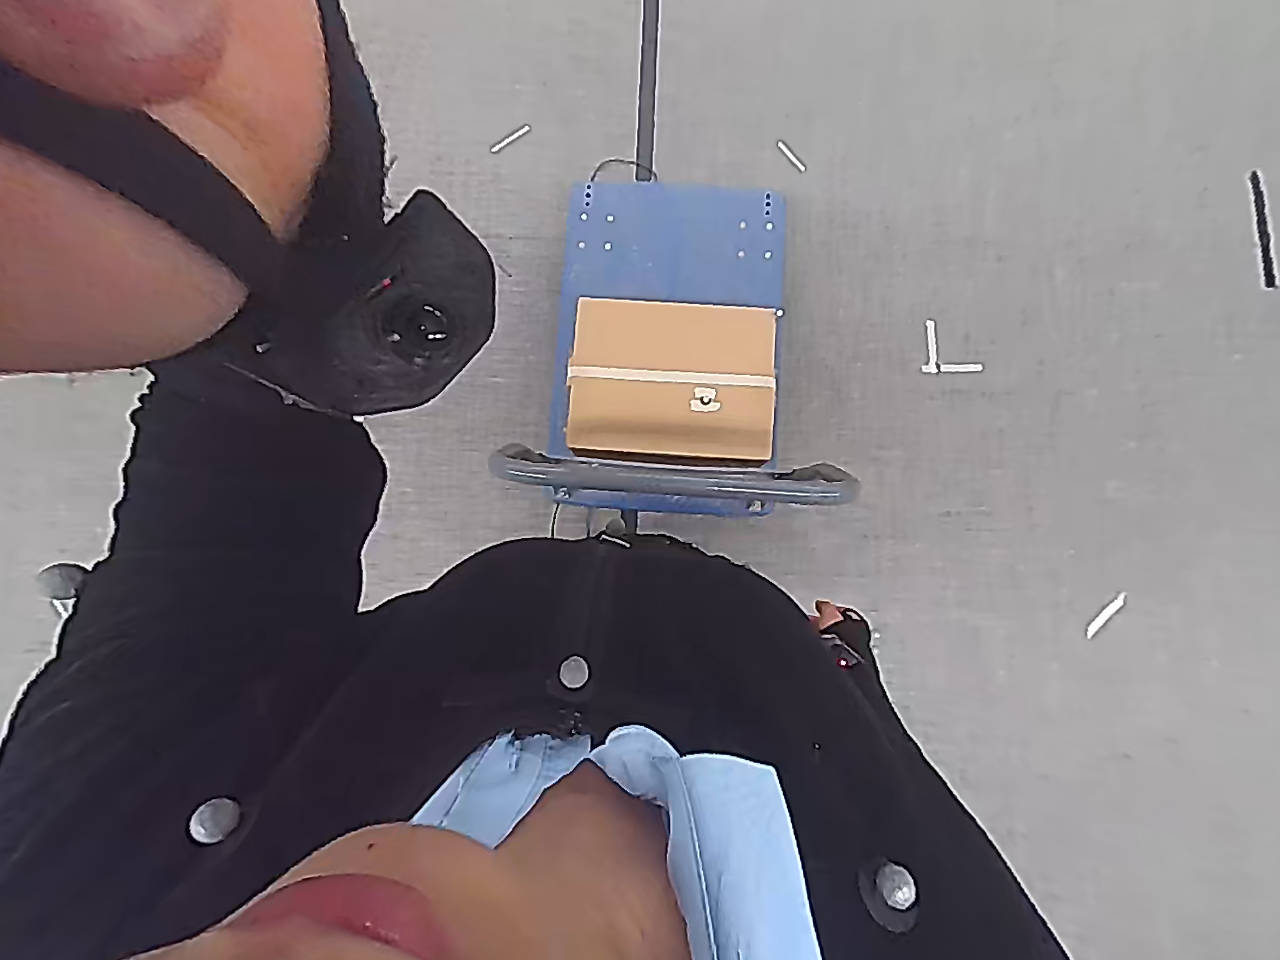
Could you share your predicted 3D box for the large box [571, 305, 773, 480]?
[{"bbox_3d":[0.065,-0.178,1.234,0.408,0.320,0.320,4,84,0],"label":"large box"}]
